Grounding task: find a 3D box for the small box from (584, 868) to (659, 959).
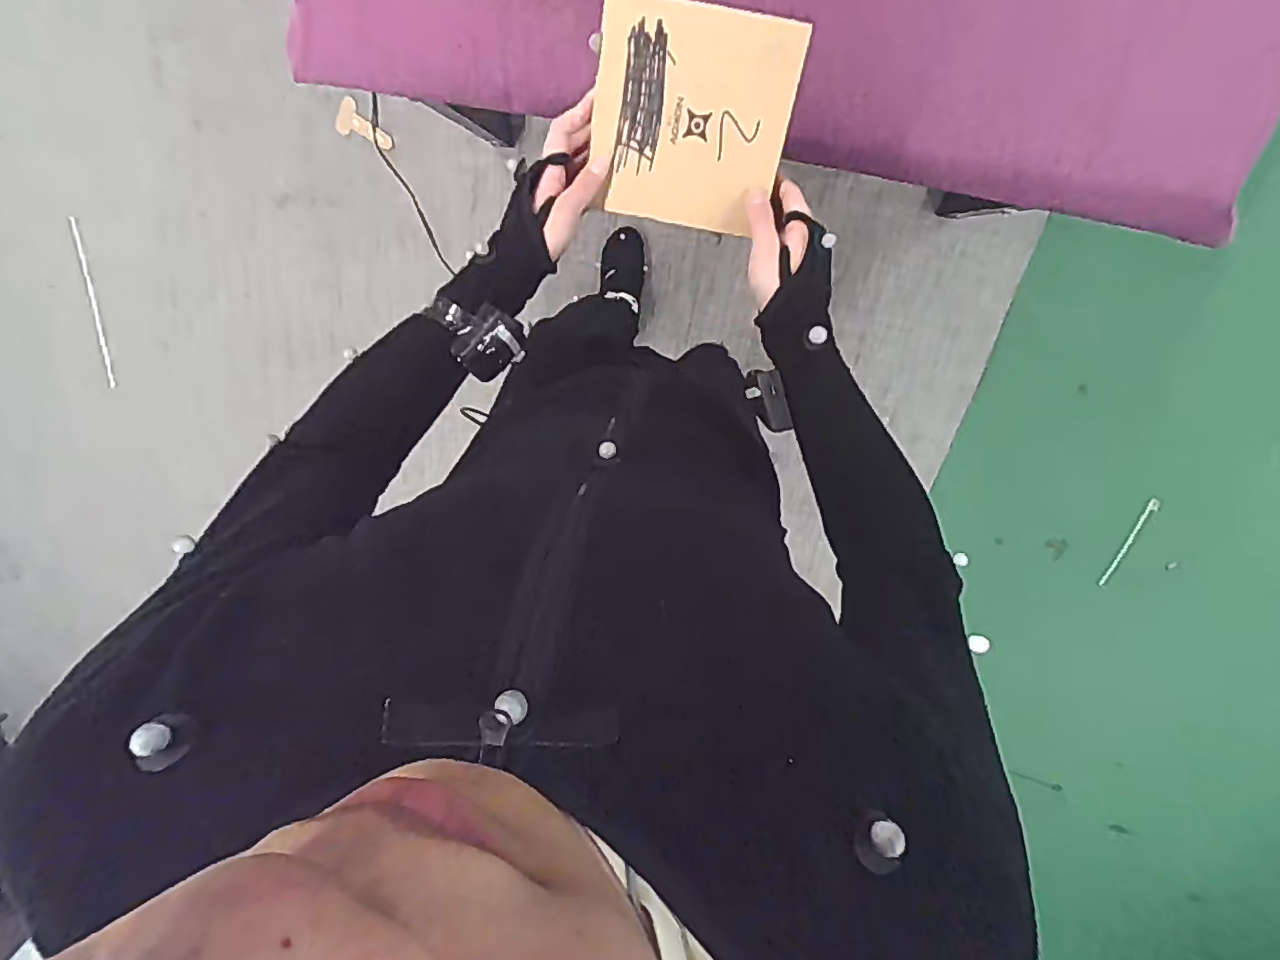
[{"bbox_3d":[-0.046,1.193,1.453,0.168,0.176,0.179,13,113,-4],"label":"small box"}]
